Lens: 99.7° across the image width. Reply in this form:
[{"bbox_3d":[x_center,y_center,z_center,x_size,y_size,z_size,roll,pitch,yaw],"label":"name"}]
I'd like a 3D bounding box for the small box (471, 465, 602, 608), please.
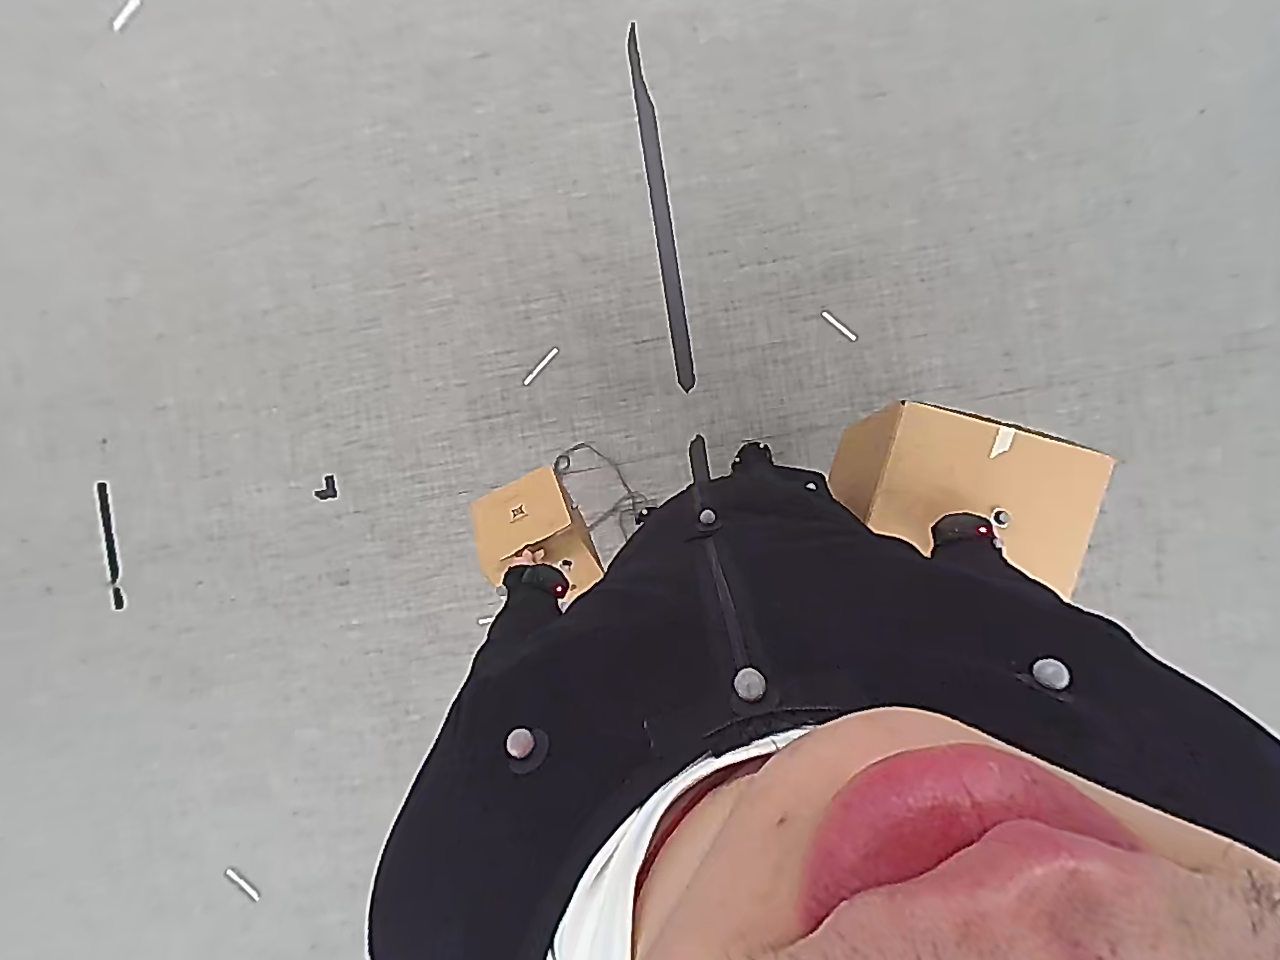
[{"bbox_3d":[-0.186,0.111,0.992,0.168,0.179,0.176,-26,134,-3],"label":"small box"}]
